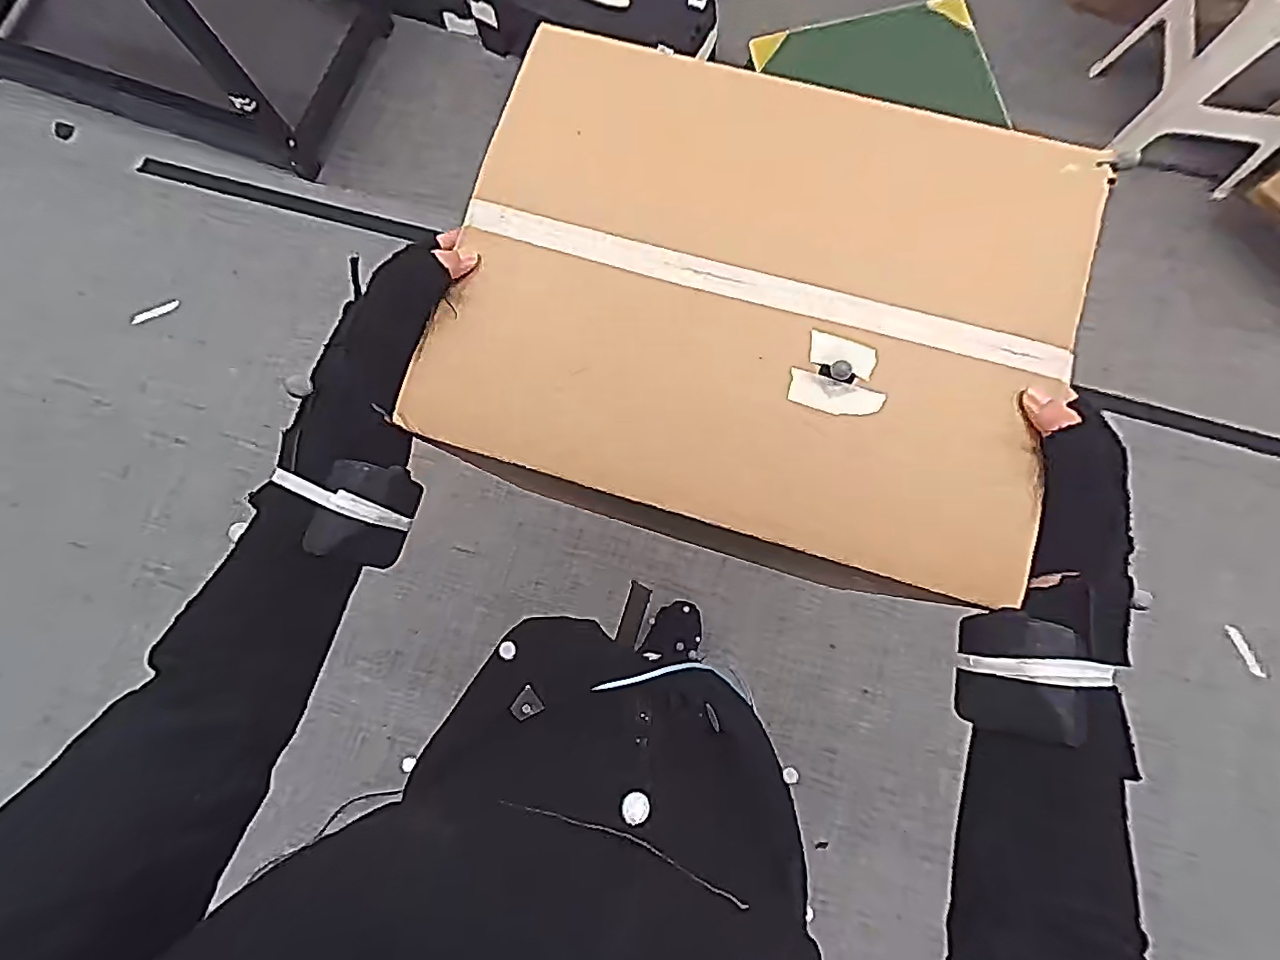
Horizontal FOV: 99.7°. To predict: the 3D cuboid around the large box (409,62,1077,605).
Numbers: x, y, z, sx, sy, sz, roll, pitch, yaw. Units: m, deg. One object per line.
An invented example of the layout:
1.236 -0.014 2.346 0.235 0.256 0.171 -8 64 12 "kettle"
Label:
0.077 -0.096 0.517 0.408 0.320 0.320 17 84 4 "large box"
